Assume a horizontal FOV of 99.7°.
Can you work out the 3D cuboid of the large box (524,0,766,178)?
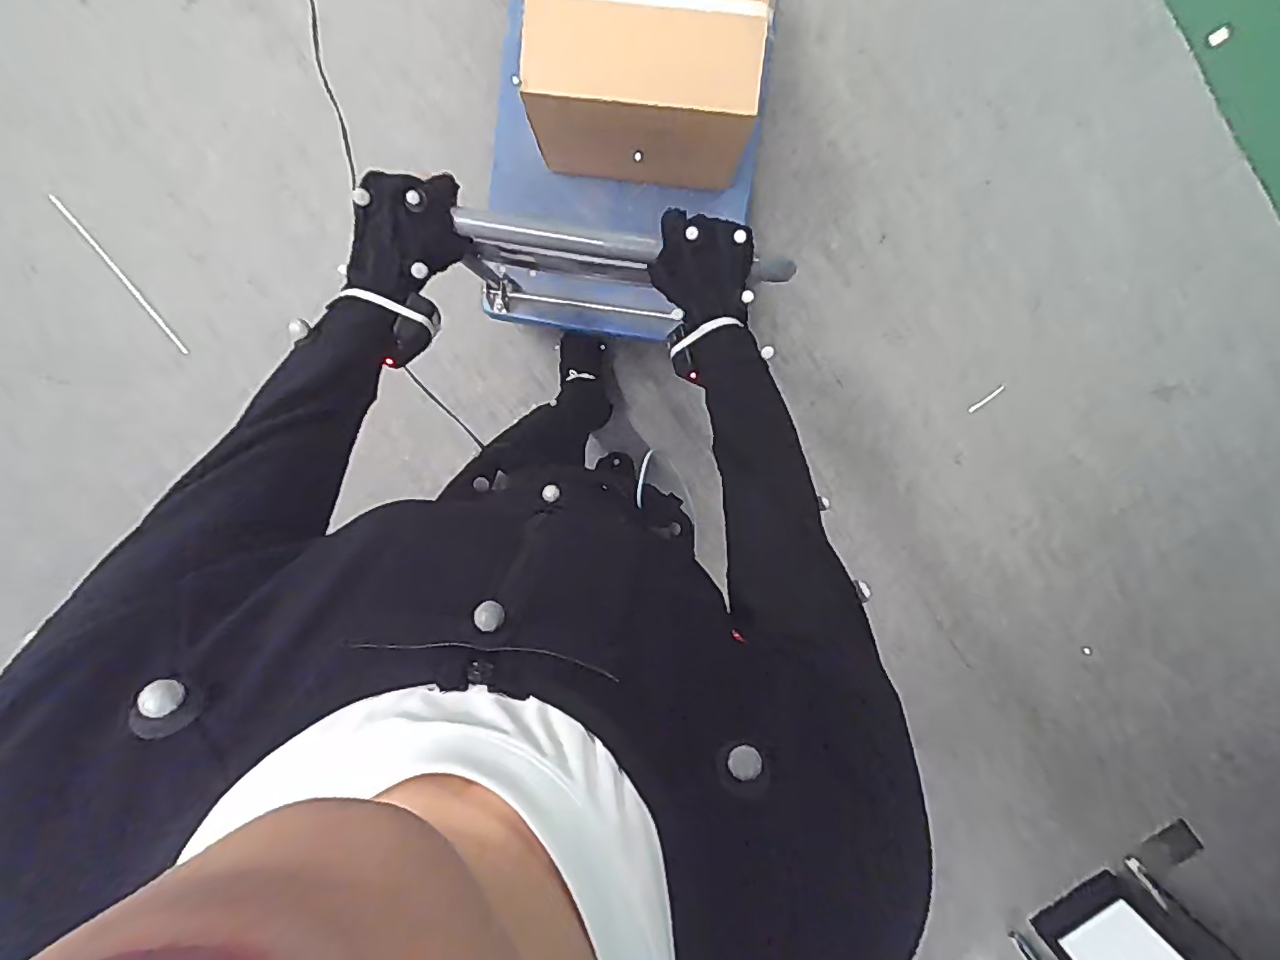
[{"bbox_3d":[0.013,-0.815,1.043,0.408,0.320,0.320,5,97,-1],"label":"large box"}]
